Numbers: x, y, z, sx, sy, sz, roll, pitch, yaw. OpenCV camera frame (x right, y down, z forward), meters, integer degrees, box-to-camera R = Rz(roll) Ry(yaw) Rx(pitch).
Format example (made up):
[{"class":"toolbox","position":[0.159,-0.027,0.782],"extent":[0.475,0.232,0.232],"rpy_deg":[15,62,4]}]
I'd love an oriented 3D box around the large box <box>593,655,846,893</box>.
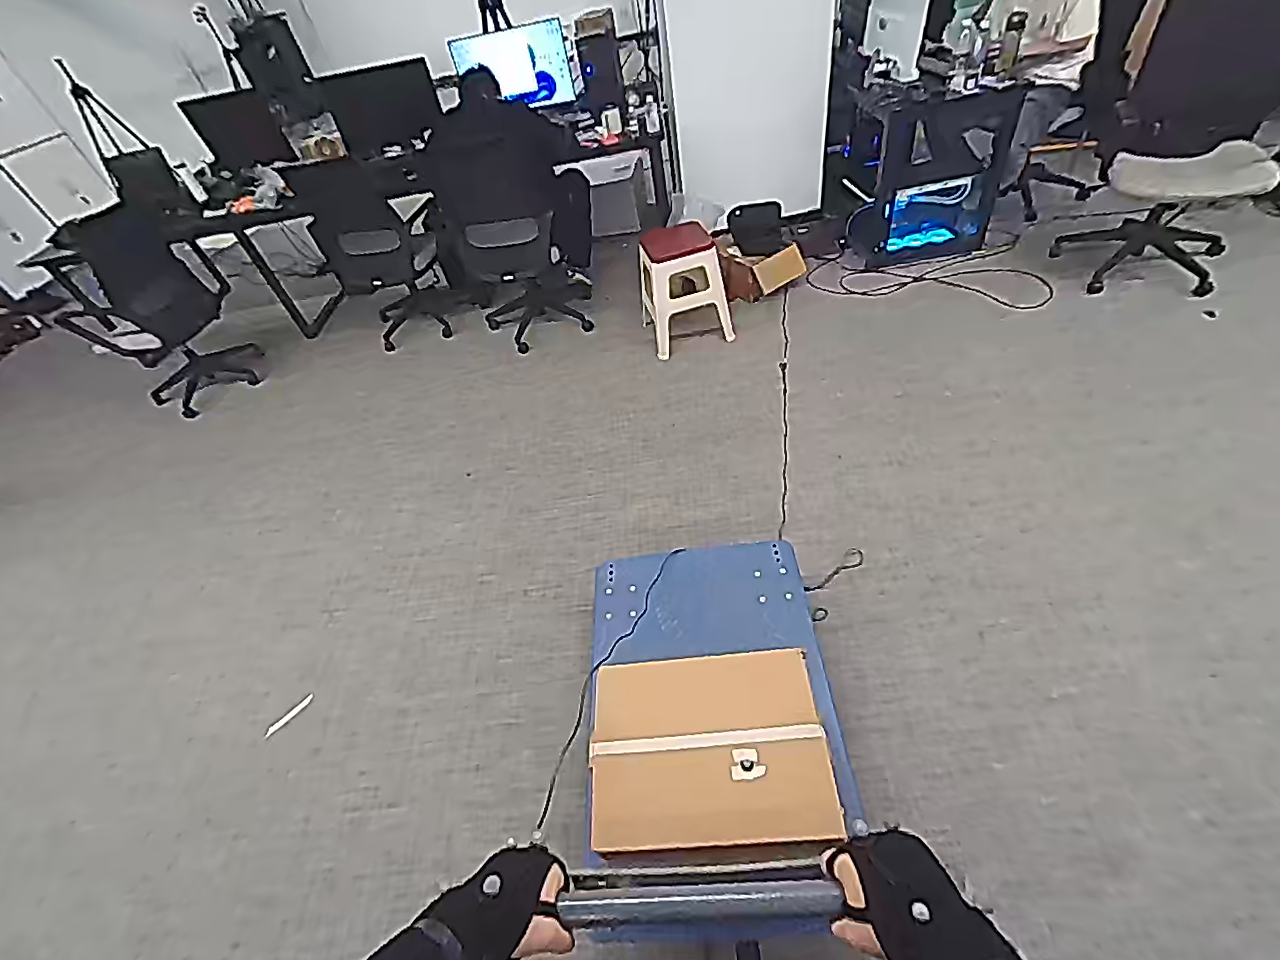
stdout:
[{"class":"large box","position":[0.136,0.572,1.042],"extent":[0.408,0.320,0.320],"rpy_deg":[-8,46,5]}]
